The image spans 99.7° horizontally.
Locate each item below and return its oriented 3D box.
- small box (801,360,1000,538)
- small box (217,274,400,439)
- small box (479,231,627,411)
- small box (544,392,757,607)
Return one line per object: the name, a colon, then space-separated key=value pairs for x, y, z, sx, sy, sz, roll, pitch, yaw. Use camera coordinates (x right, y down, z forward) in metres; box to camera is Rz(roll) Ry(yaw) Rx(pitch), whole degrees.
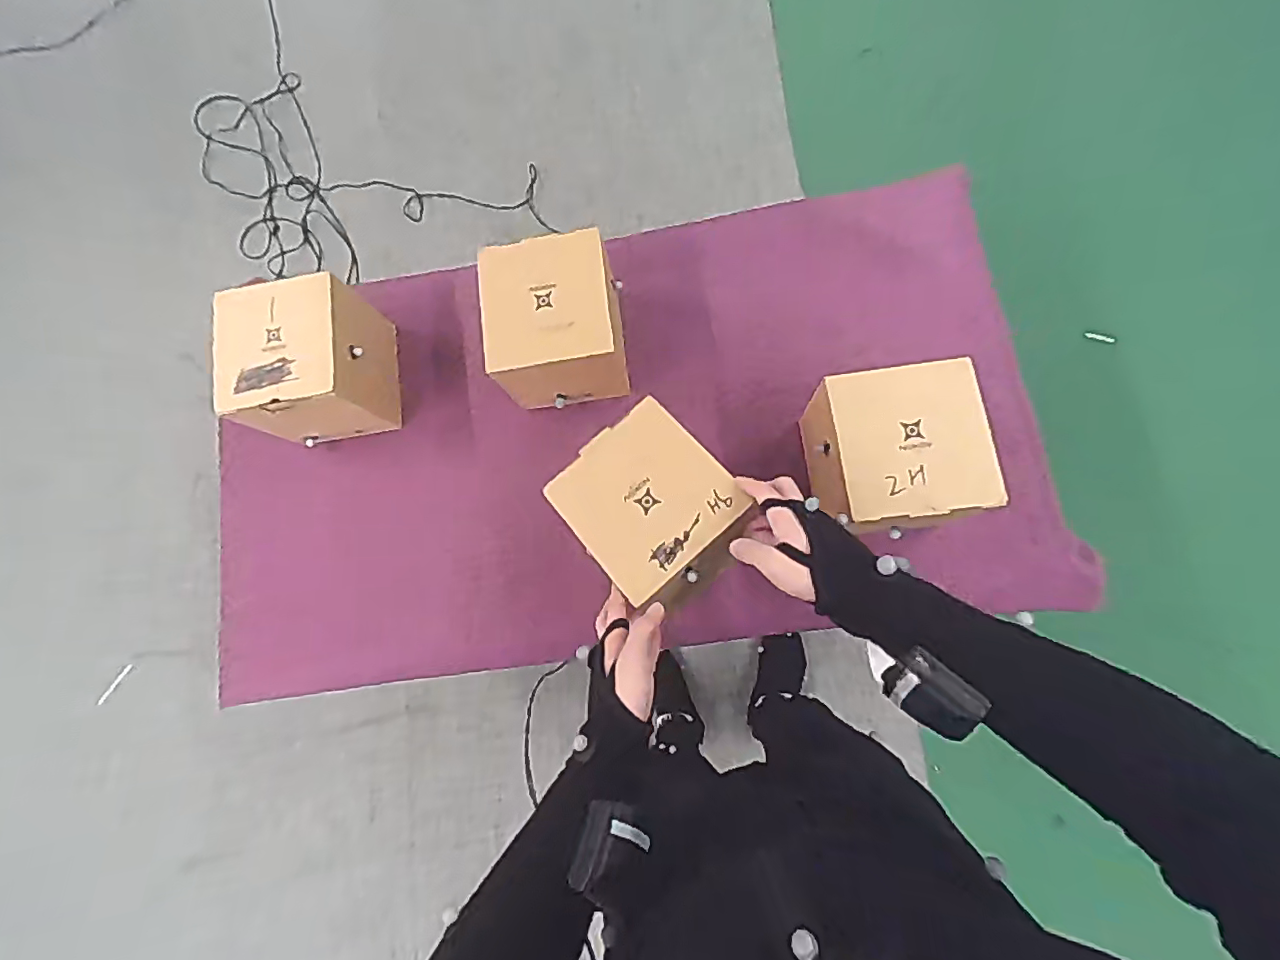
small box: x=0.309 y=-0.029 z=0.683 sx=0.168 sy=0.176 sz=0.179 roll=-7 pitch=78 yaw=6
small box: x=-0.470 y=-0.166 z=0.789 sx=0.168 sy=0.176 sz=0.179 roll=-9 pitch=78 yaw=3
small box: x=-0.115 y=-0.214 z=0.764 sx=0.168 sy=0.176 sz=0.179 roll=-8 pitch=79 yaw=5
small box: x=0.021 y=0.034 z=0.647 sx=0.168 sy=0.176 sz=0.179 roll=-41 pitch=69 yaw=0
